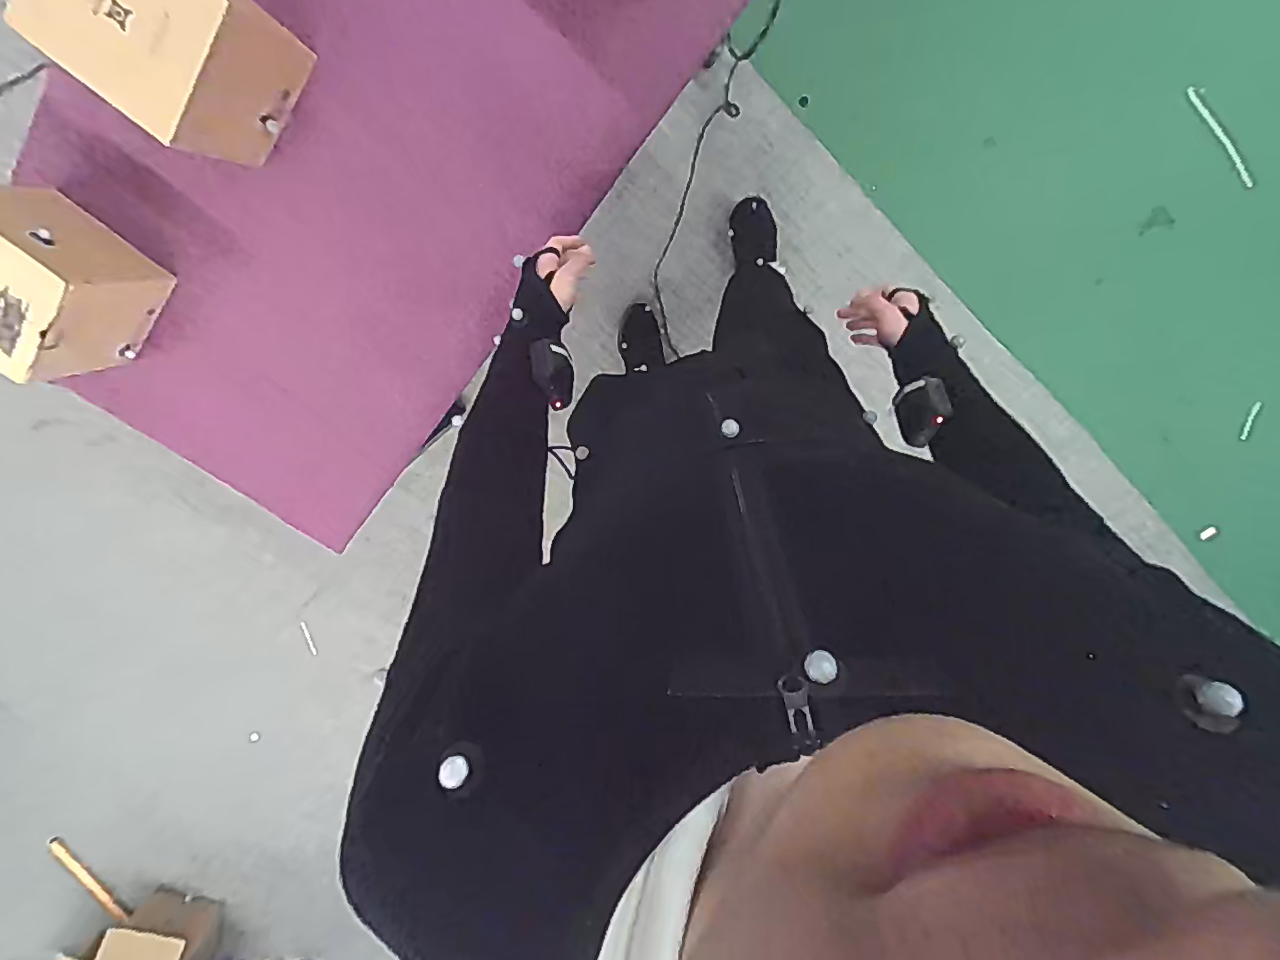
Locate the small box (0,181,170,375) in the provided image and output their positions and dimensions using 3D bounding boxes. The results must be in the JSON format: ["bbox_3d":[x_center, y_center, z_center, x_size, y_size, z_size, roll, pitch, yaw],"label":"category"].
[{"bbox_3d":[-0.787,-0.270,0.710,0.179,0.176,0.168,40,106,-15],"label":"small box"}]

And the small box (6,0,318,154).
[{"bbox_3d":[-0.523,-0.510,0.617,0.179,0.176,0.168,39,108,-14],"label":"small box"}]
